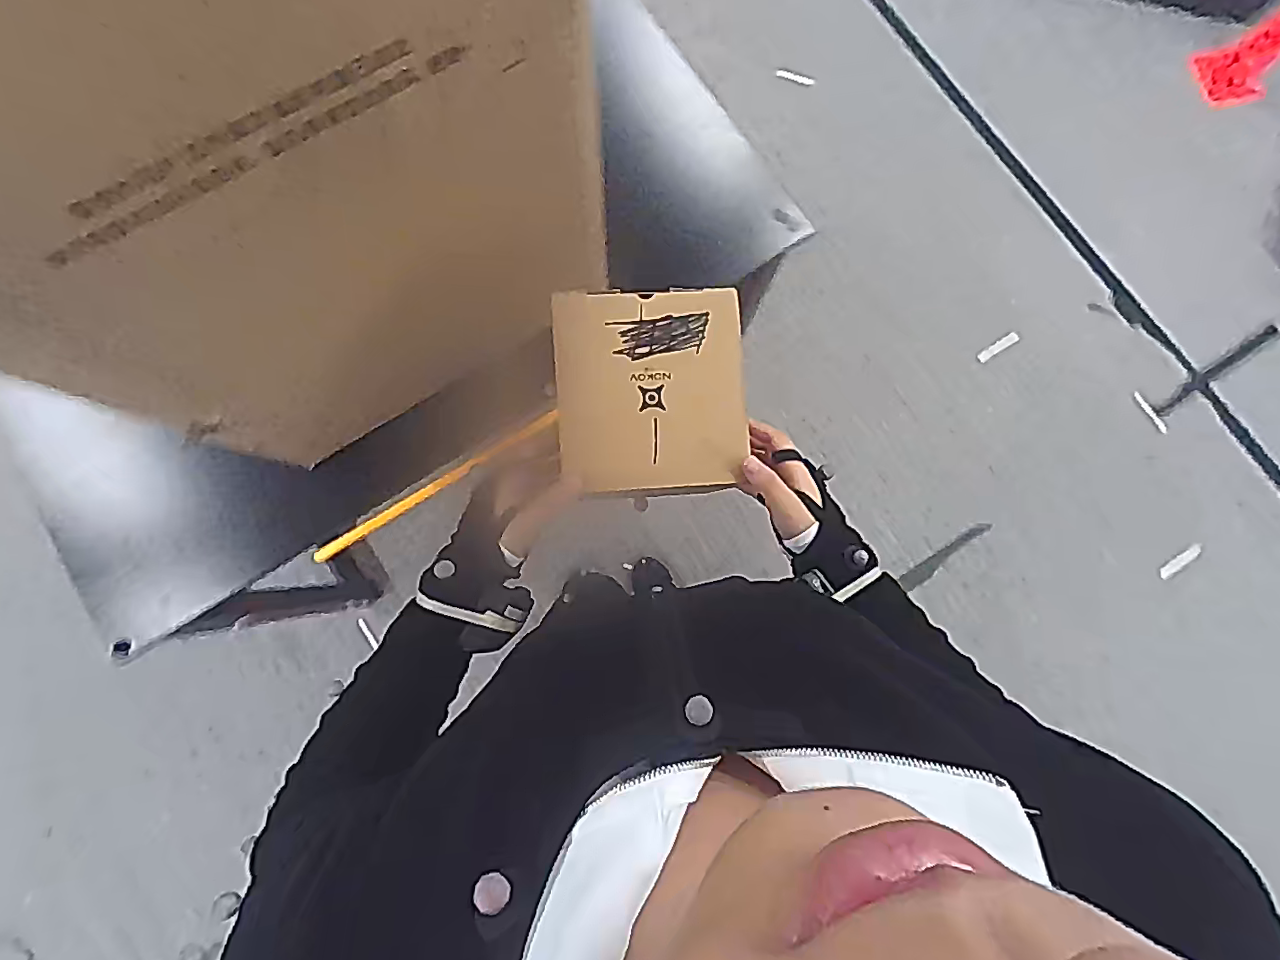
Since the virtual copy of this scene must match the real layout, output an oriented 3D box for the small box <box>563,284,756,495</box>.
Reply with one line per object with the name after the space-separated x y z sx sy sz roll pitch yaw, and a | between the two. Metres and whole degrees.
0.009 -0.079 0.548 0.168 0.176 0.179 -3 86 -5 | small box
